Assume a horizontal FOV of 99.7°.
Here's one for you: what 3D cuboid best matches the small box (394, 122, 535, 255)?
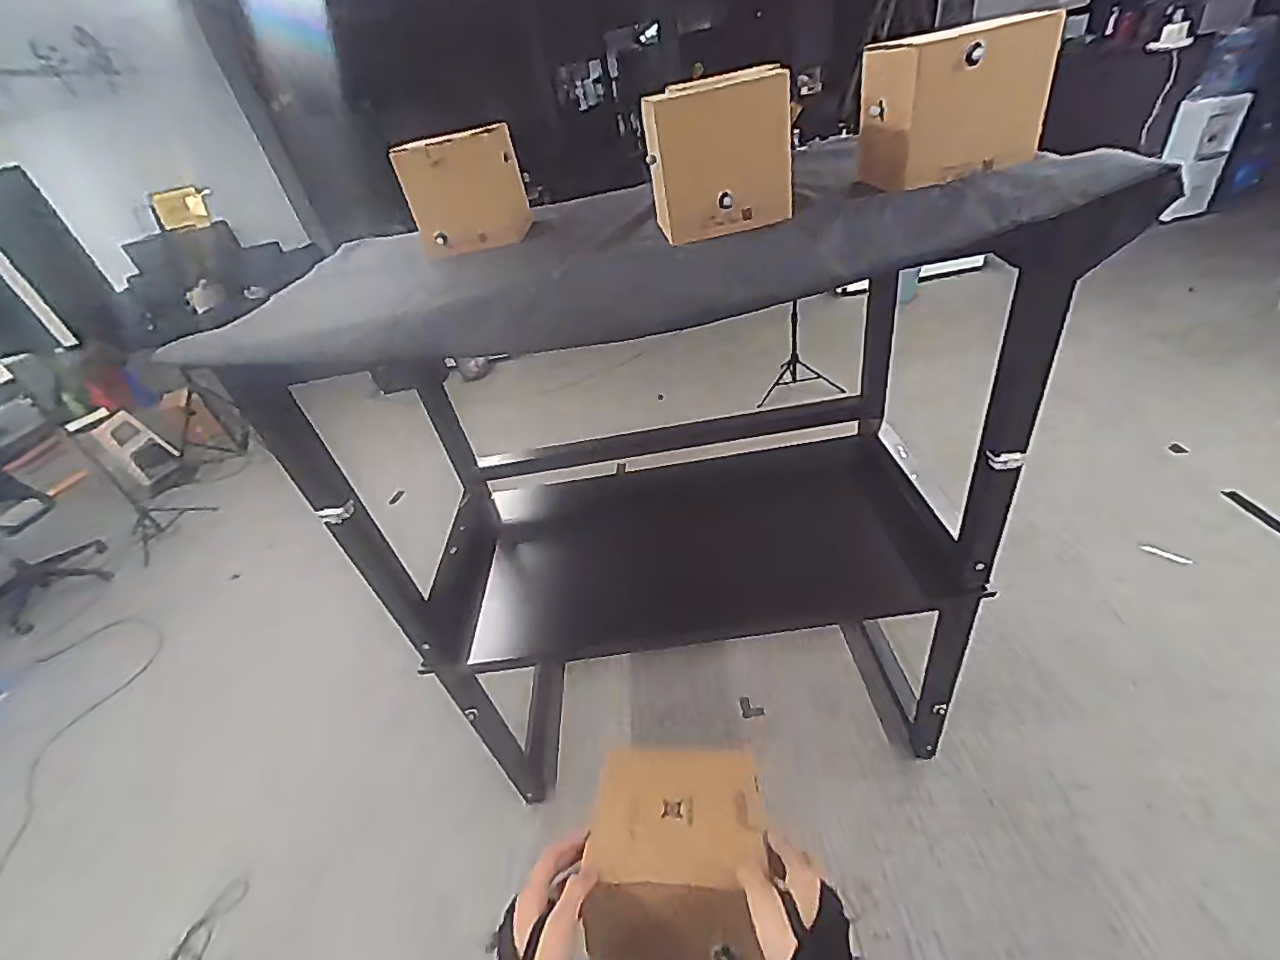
[{"bbox_3d":[-0.294,-0.510,0.954,0.168,0.176,0.179,-9,36,5],"label":"small box"}]

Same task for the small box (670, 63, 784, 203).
[{"bbox_3d":[0.146,-0.586,0.921,0.168,0.176,0.179,-9,36,6],"label":"small box"}]
